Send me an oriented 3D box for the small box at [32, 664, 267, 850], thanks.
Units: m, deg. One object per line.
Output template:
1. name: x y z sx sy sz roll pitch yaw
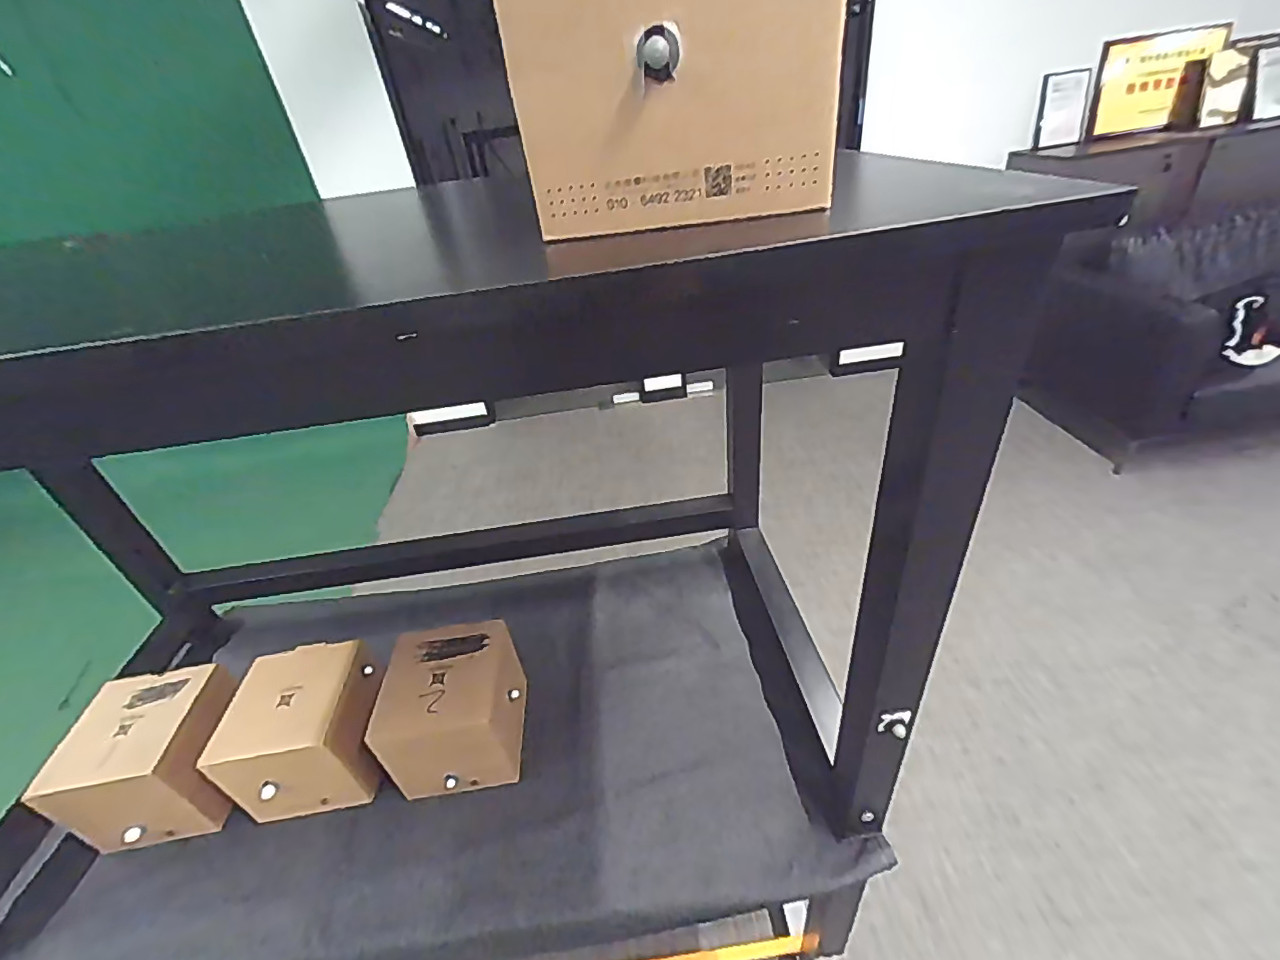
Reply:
1. small box: -0.706 0.412 0.811 0.168 0.176 0.179 -10 35 -3
